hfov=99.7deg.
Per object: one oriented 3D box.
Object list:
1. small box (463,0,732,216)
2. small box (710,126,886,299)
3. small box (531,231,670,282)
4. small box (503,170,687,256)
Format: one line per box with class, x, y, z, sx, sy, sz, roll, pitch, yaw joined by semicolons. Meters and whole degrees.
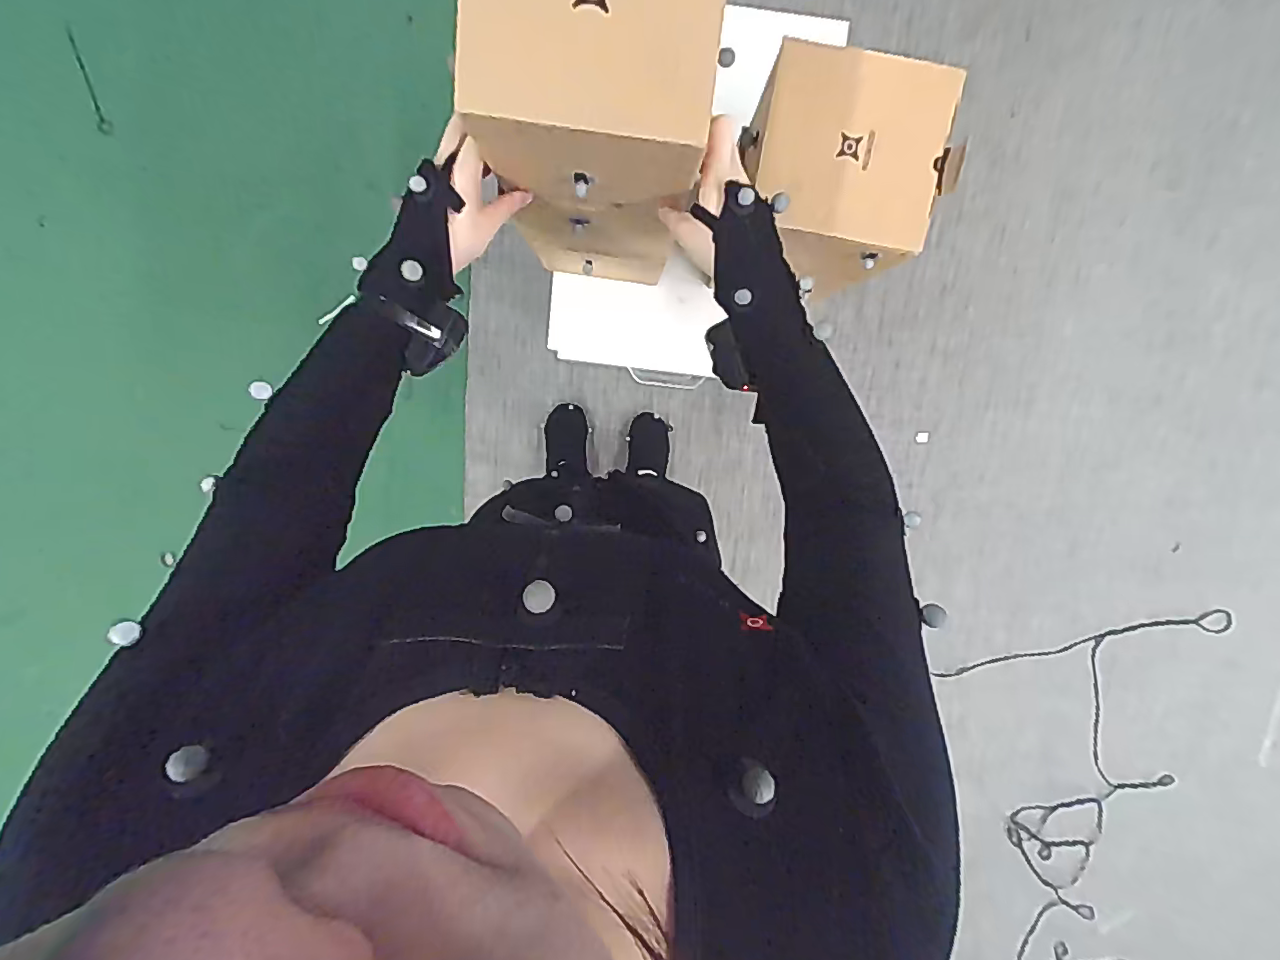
small box;-0.025;-0.321;0.412;0.168;0.176;0.179;6;101;-4
small box;0.204;-0.353;0.748;0.179;0.176;0.168;8;100;-1
small box;-0.041;-0.376;0.737;0.179;0.176;0.168;7;101;-3
small box;-0.036;-0.348;0.575;0.179;0.176;0.168;6;101;-4
